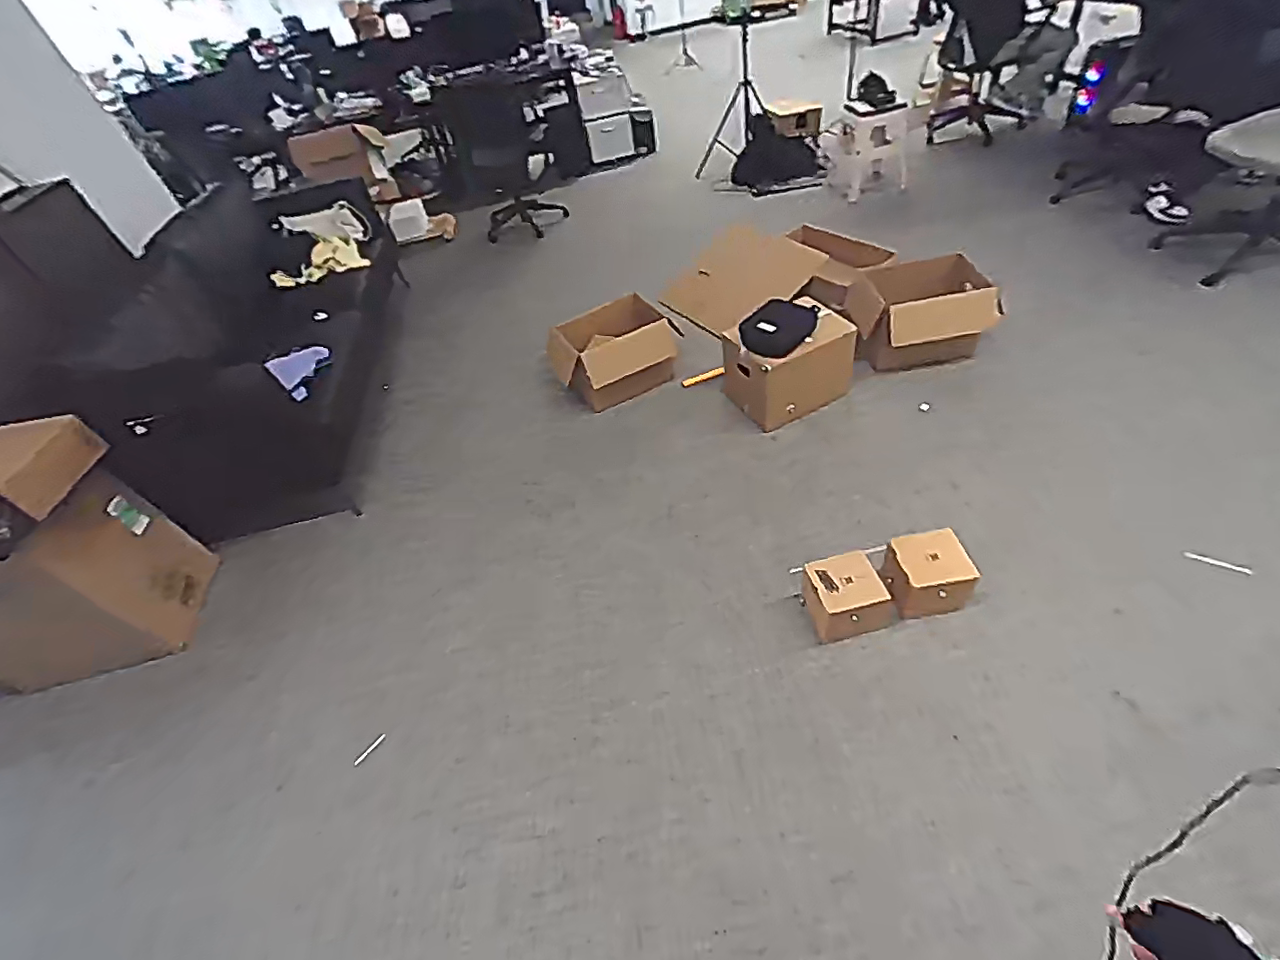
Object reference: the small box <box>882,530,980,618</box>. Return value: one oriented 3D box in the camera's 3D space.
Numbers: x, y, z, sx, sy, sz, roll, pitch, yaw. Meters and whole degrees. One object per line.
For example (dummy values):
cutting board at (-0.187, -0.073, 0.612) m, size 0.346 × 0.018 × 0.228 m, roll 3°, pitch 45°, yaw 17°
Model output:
small box at (0.806, 0.266, 1.517) m, size 0.179 × 0.176 × 0.168 m, roll -12°, pitch 46°, yaw 4°

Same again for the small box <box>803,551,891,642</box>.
small box at (0.570, 0.330, 1.513) m, size 0.179 × 0.176 × 0.168 m, roll -14°, pitch 45°, yaw -1°
